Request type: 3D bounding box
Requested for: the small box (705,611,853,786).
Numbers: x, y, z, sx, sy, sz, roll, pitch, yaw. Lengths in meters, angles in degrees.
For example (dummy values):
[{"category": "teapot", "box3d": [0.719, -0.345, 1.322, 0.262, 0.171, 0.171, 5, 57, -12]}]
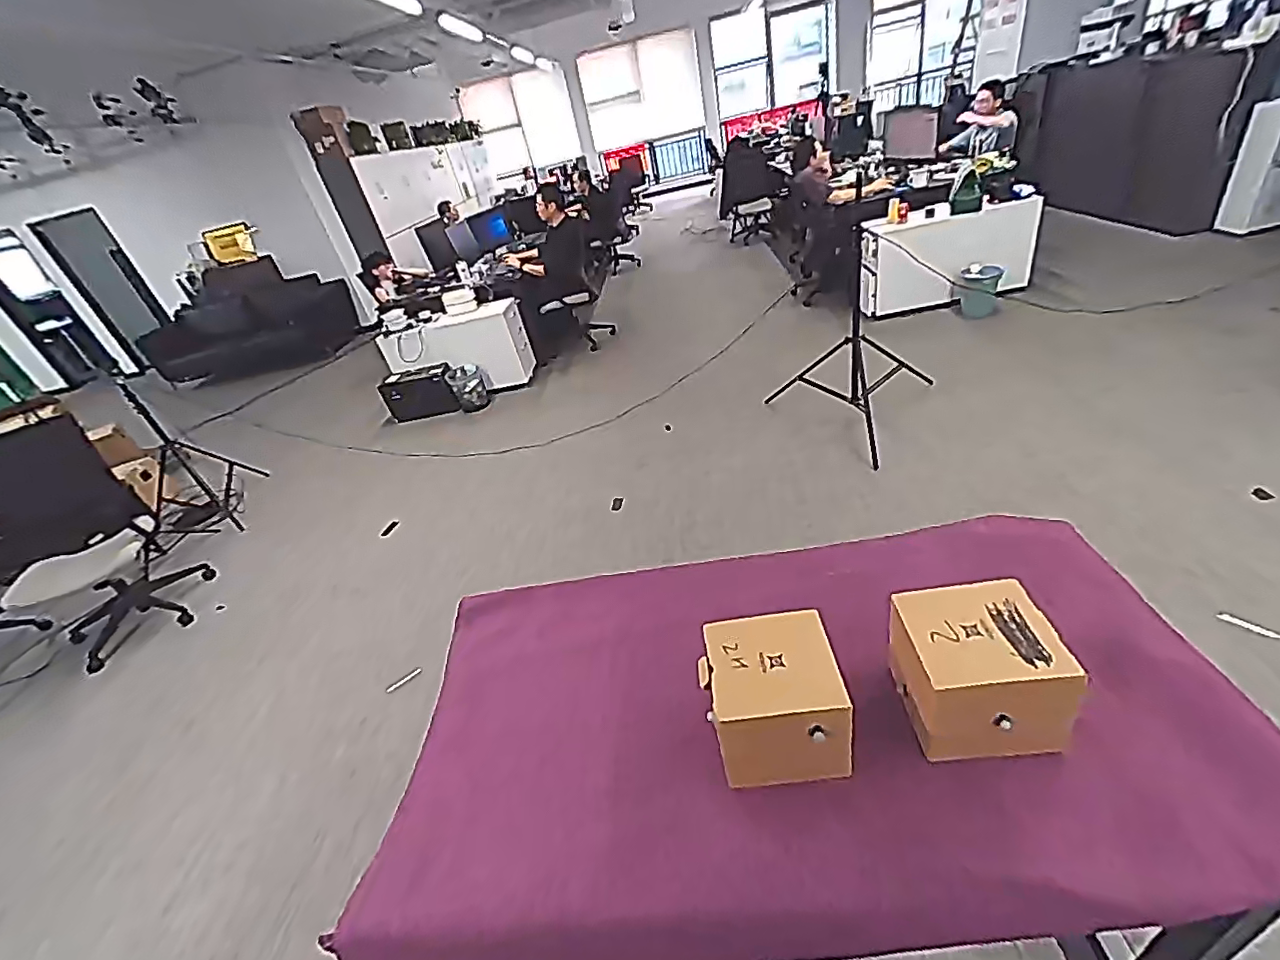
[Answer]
[{"category": "small box", "box3d": [0.199, 0.320, 0.795, 0.179, 0.176, 0.168, -11, 32, 7]}]
